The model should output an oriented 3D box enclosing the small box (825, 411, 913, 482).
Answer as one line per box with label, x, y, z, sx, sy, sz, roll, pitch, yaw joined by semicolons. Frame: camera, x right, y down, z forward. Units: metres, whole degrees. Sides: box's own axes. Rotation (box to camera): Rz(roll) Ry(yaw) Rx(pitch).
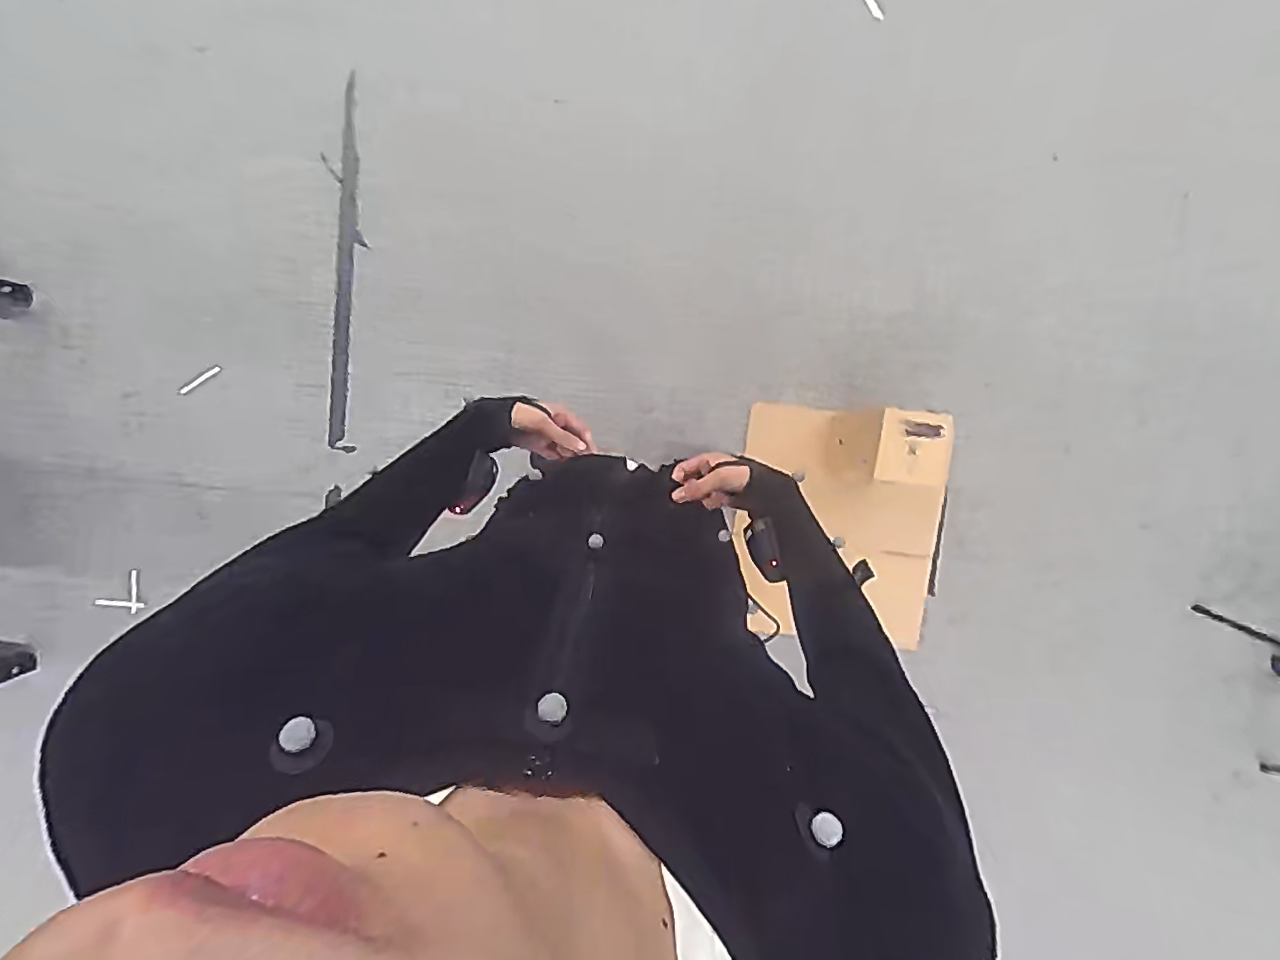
small box;0.637;-0.097;1.526;0.168;0.176;0.179;7;95;-1
